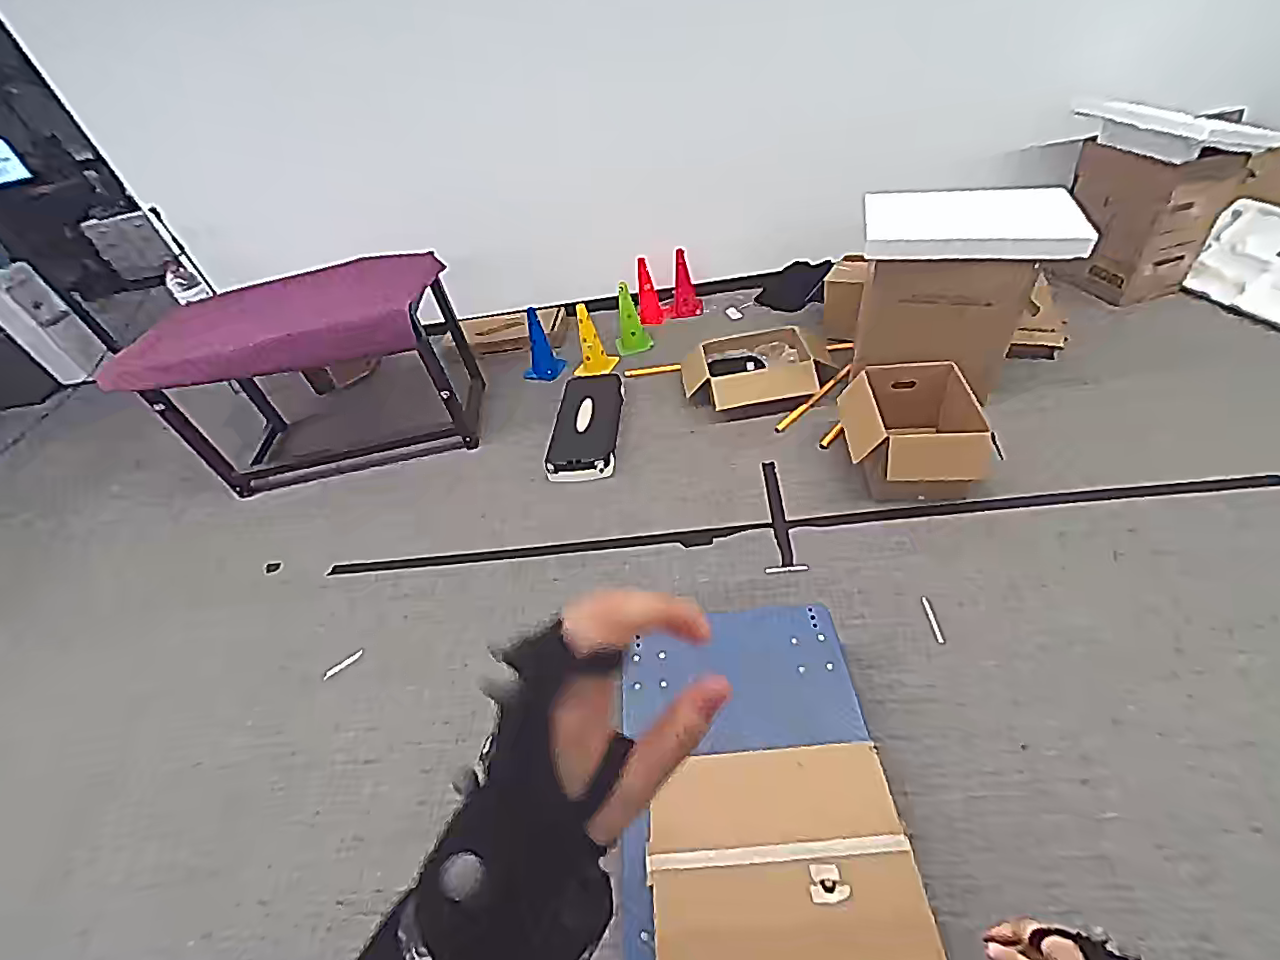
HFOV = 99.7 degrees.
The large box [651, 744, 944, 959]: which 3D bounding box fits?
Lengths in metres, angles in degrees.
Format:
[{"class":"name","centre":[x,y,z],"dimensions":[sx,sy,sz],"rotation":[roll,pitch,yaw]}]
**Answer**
[{"class":"large box","centre":[0.241,0.708,0.964],"dimensions":[0.408,0.320,0.320],"rotation":[-7,44,4]}]
